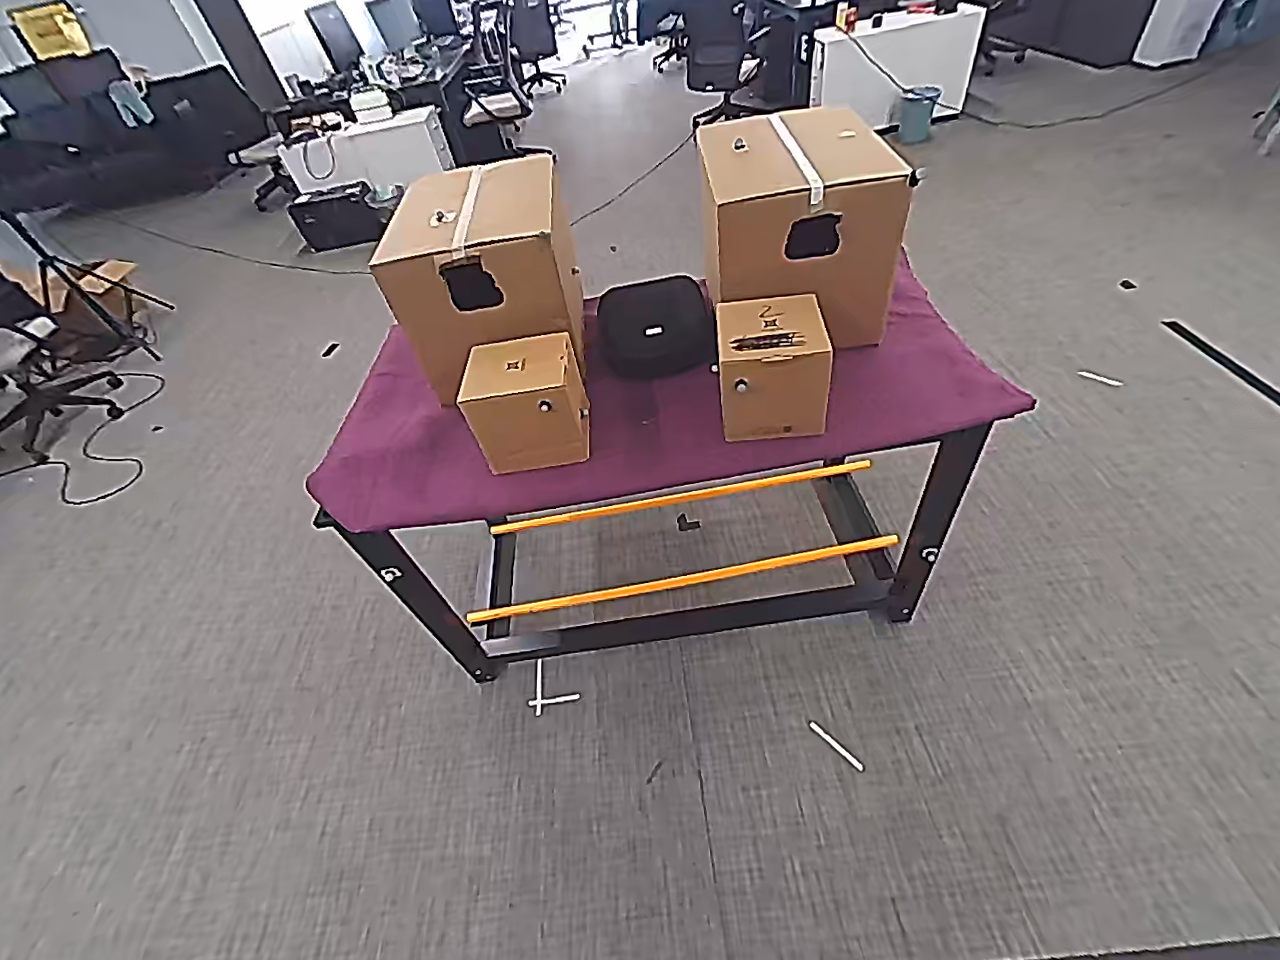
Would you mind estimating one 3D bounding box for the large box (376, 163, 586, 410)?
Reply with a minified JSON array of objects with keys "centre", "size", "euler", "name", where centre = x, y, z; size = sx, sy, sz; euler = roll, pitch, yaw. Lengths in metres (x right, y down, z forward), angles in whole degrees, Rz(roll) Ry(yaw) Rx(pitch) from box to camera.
[{"centre":[-0.301,-0.412,1.143],"size":[0.320,0.320,0.408],"euler":[-11,49,2],"name":"large box"}]
